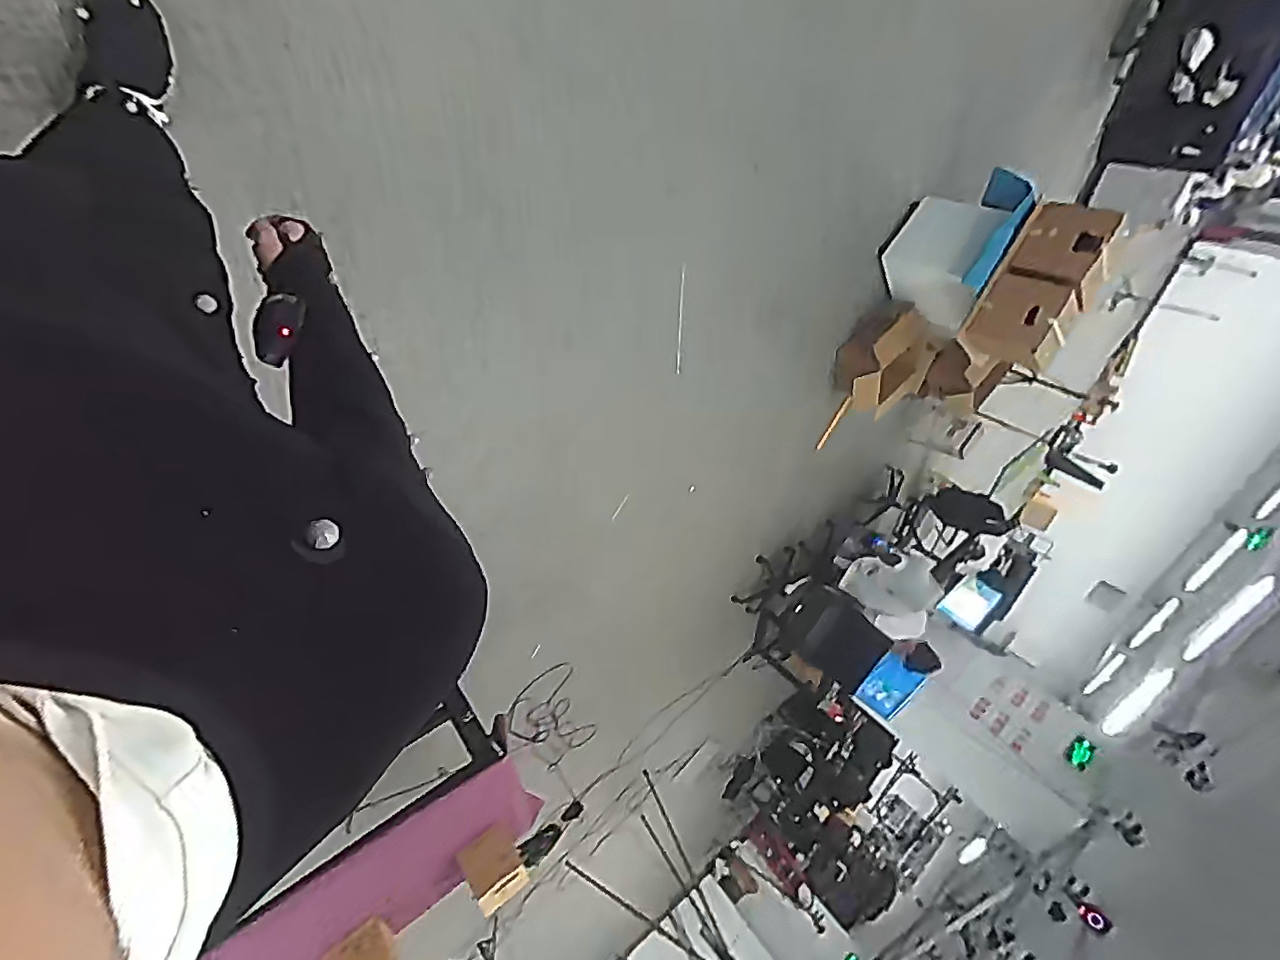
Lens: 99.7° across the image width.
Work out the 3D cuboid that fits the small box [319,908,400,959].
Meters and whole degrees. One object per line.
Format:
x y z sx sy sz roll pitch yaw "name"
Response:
-0.851 1.466 1.654 0.168 0.176 0.179 -26 136 -29 "small box"
